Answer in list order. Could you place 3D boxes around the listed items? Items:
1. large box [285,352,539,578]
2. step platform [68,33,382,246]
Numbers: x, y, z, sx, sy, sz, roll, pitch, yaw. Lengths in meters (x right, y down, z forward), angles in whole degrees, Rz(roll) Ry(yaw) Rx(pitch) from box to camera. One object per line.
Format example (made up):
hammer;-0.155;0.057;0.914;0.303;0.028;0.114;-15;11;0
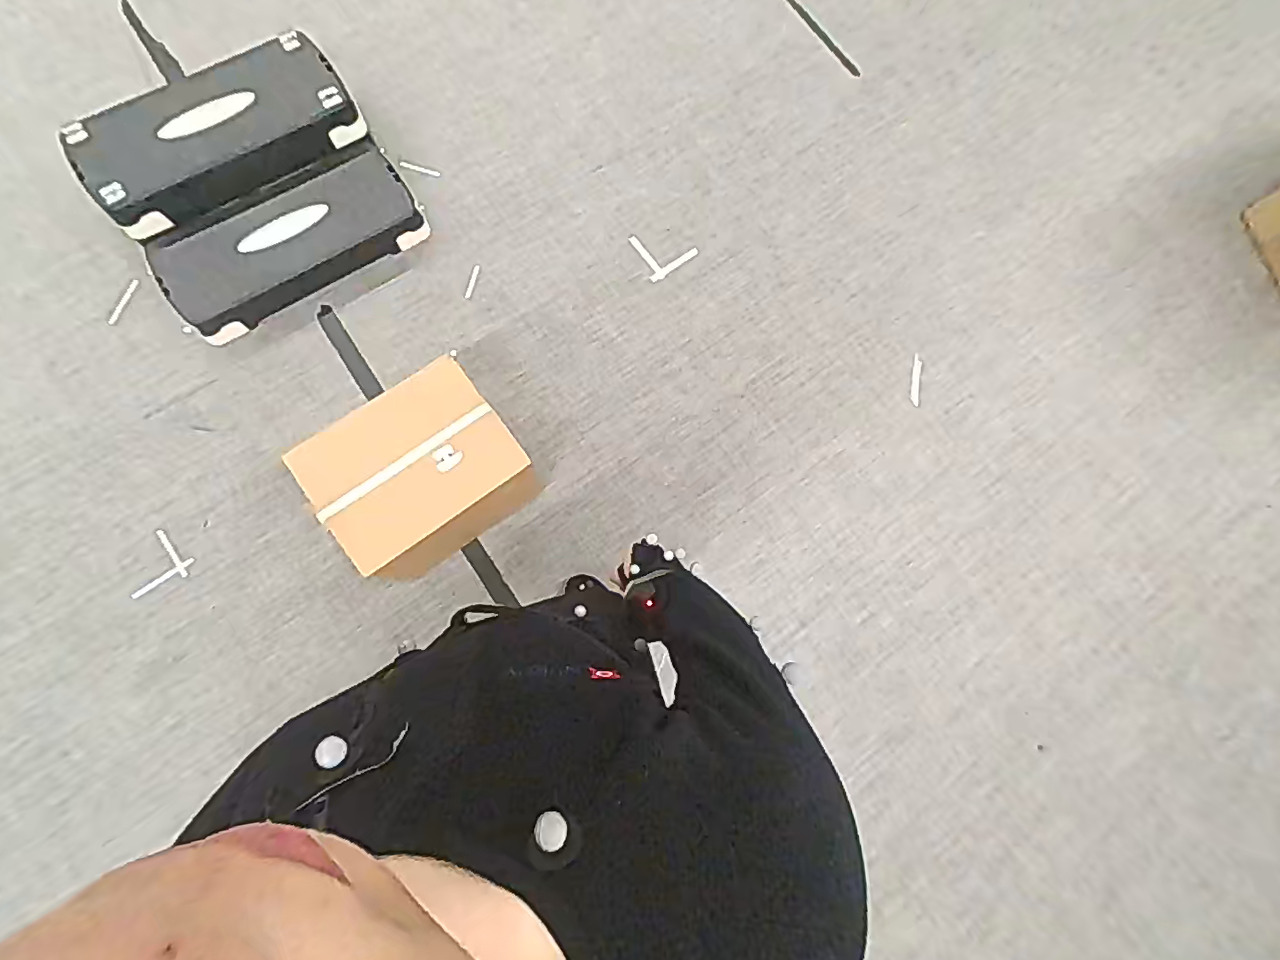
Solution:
large box;-0.497;-0.015;1.270;0.408;0.320;0.320;-37;84;-11
step platform;-1.085;-0.913;1.448;0.684;0.204;0.286;-29;83;-10
